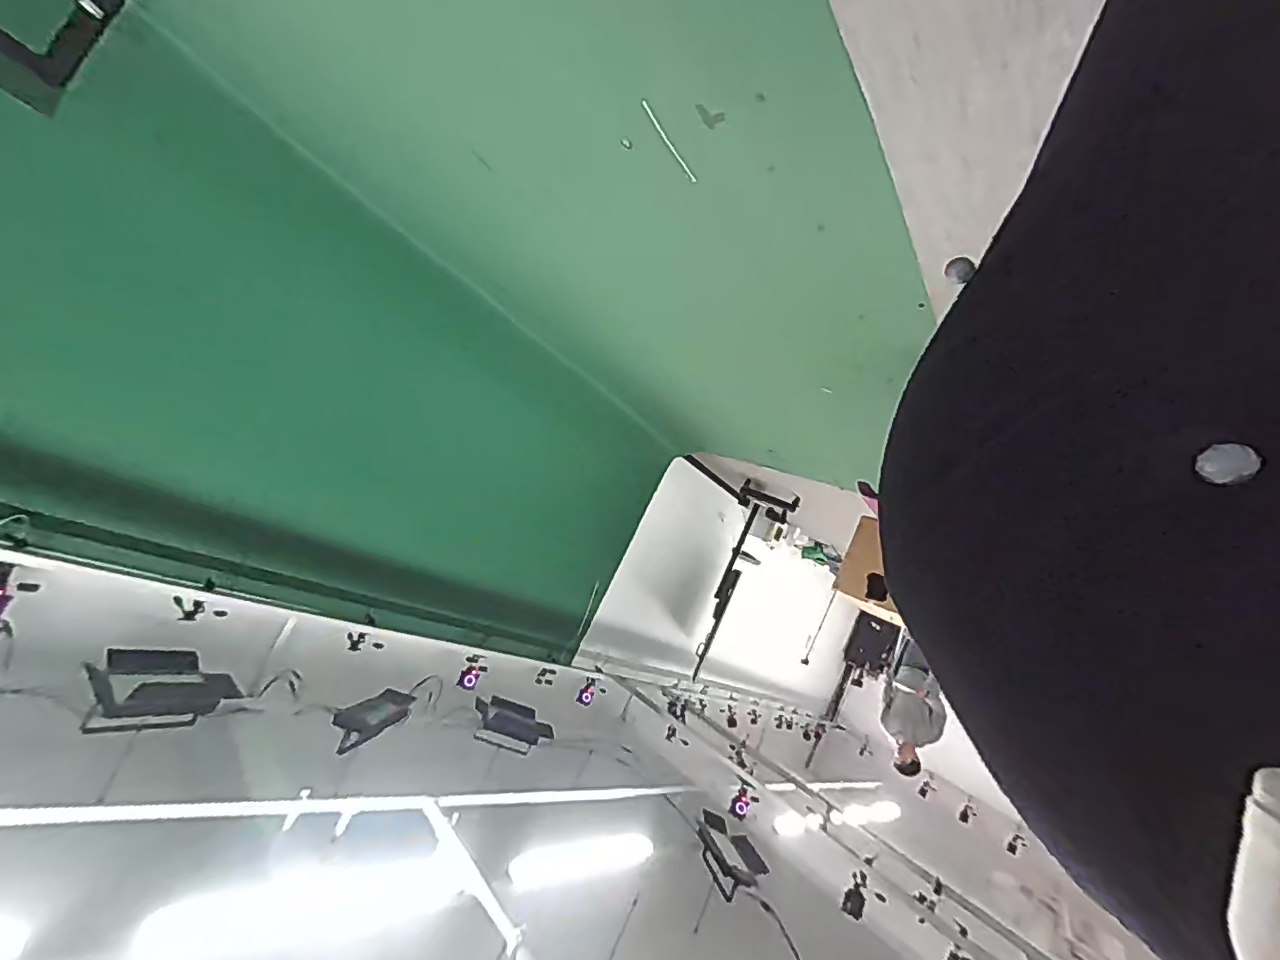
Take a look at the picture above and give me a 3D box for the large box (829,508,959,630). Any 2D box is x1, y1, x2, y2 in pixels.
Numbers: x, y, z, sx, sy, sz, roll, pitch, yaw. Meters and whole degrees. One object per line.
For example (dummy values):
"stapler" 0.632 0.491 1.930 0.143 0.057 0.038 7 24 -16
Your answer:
"large box" 0.998 0.347 2.104 0.320 0.320 0.408 17 169 42
